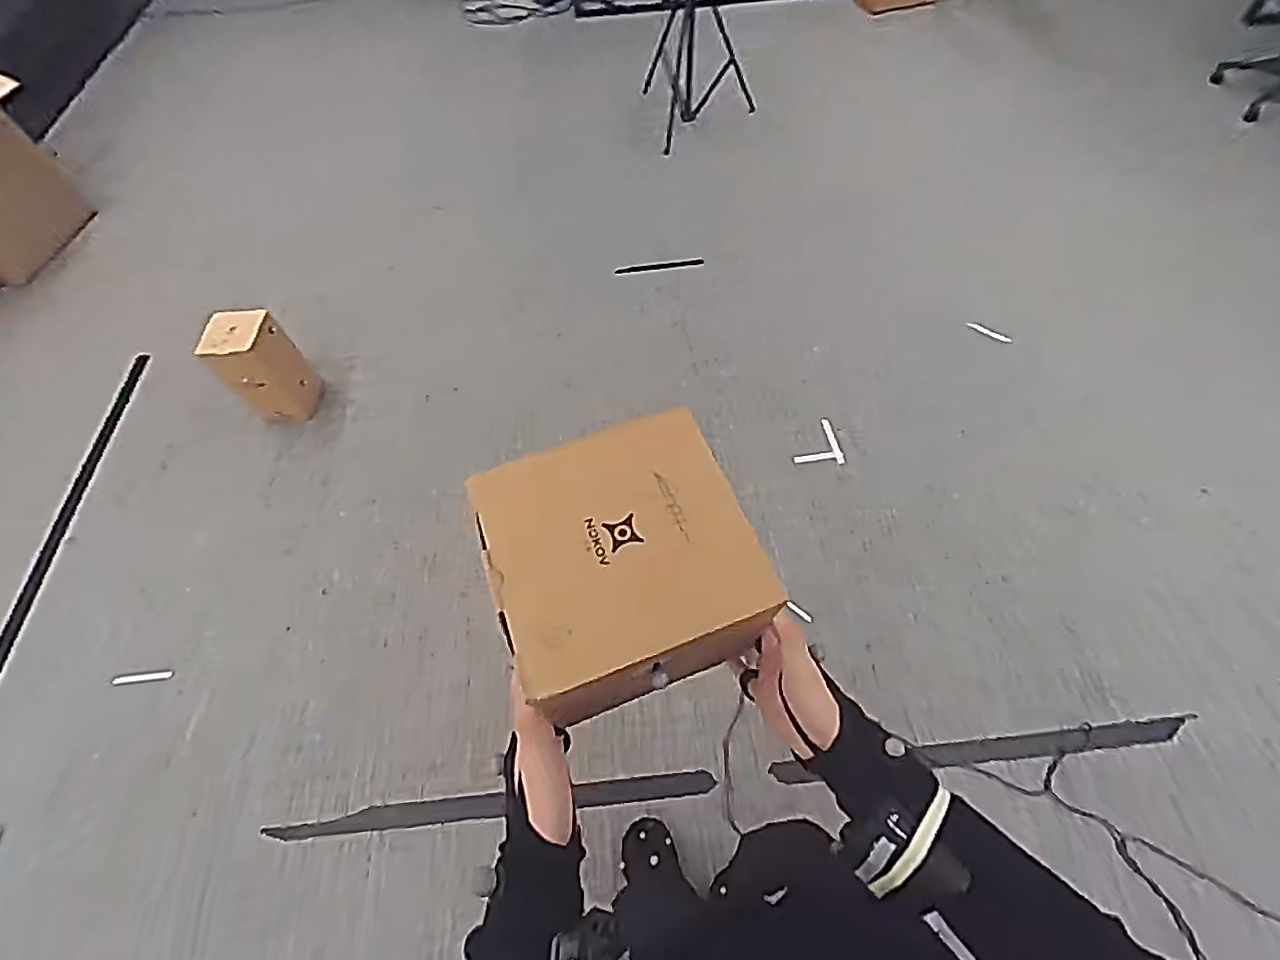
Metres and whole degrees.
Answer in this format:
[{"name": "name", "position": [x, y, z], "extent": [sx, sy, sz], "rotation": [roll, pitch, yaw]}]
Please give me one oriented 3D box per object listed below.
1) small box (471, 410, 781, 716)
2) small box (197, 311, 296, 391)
[{"name": "small box", "position": [-0.015, 0.075, 0.439], "extent": [0.179, 0.176, 0.168], "rotation": [-18, 63, -11]}, {"name": "small box", "position": [-1.221, -0.402, 1.695], "extent": [0.168, 0.176, 0.179], "rotation": [-4, 60, 1]}]
